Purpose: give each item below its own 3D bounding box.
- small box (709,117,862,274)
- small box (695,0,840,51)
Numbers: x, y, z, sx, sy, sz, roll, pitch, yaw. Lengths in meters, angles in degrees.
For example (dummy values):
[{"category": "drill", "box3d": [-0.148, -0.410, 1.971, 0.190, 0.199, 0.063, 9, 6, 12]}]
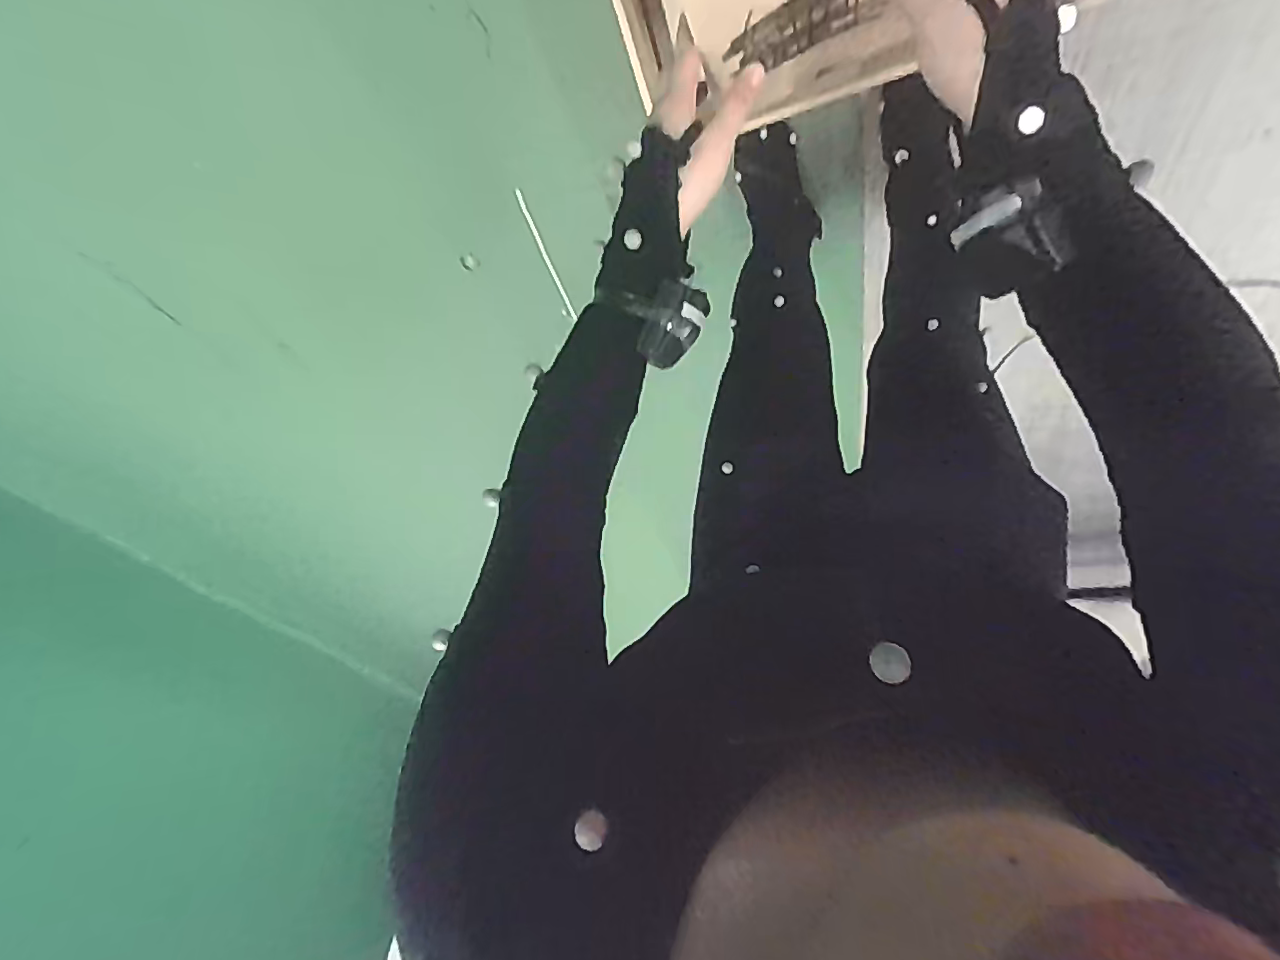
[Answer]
[{"category": "small box", "box3d": [0.262, -0.498, 0.961, 0.176, 0.168, 0.179, 5, 124, -41]}, {"category": "small box", "box3d": [0.153, -0.694, 0.693, 0.179, 0.176, 0.168, -9, 137, 18]}]
